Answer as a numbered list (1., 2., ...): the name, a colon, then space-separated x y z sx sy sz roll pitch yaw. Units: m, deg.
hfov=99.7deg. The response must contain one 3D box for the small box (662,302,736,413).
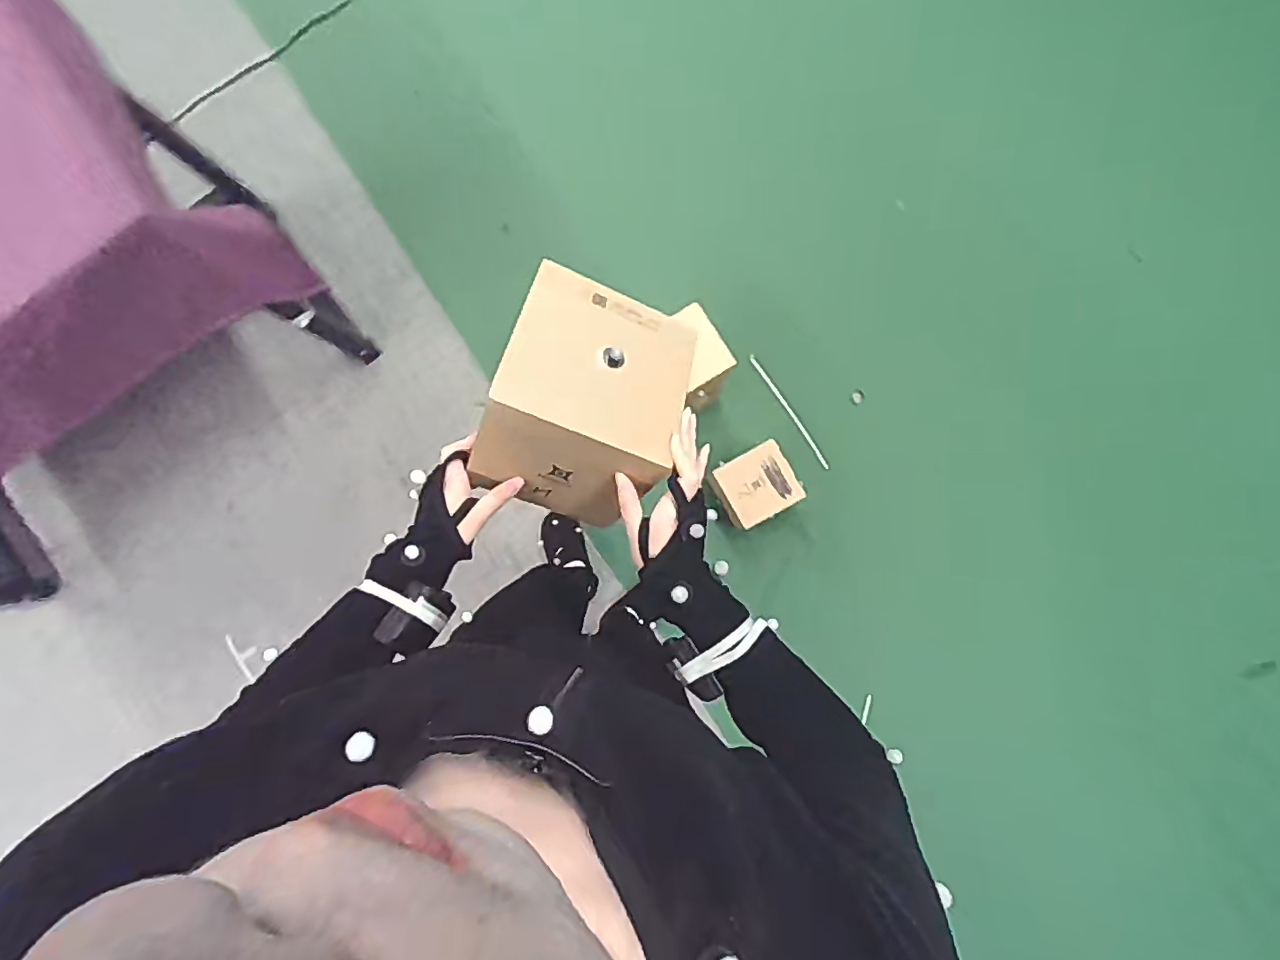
1. small box: 0.099 -0.279 1.264 0.179 0.176 0.168 -31 85 0

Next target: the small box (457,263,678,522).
1. small box: -0.071 -0.082 0.551 0.168 0.179 0.176 20 61 -15

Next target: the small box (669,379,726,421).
1. small box: 0.106 -0.269 1.427 0.168 0.176 0.179 -31 85 -1
